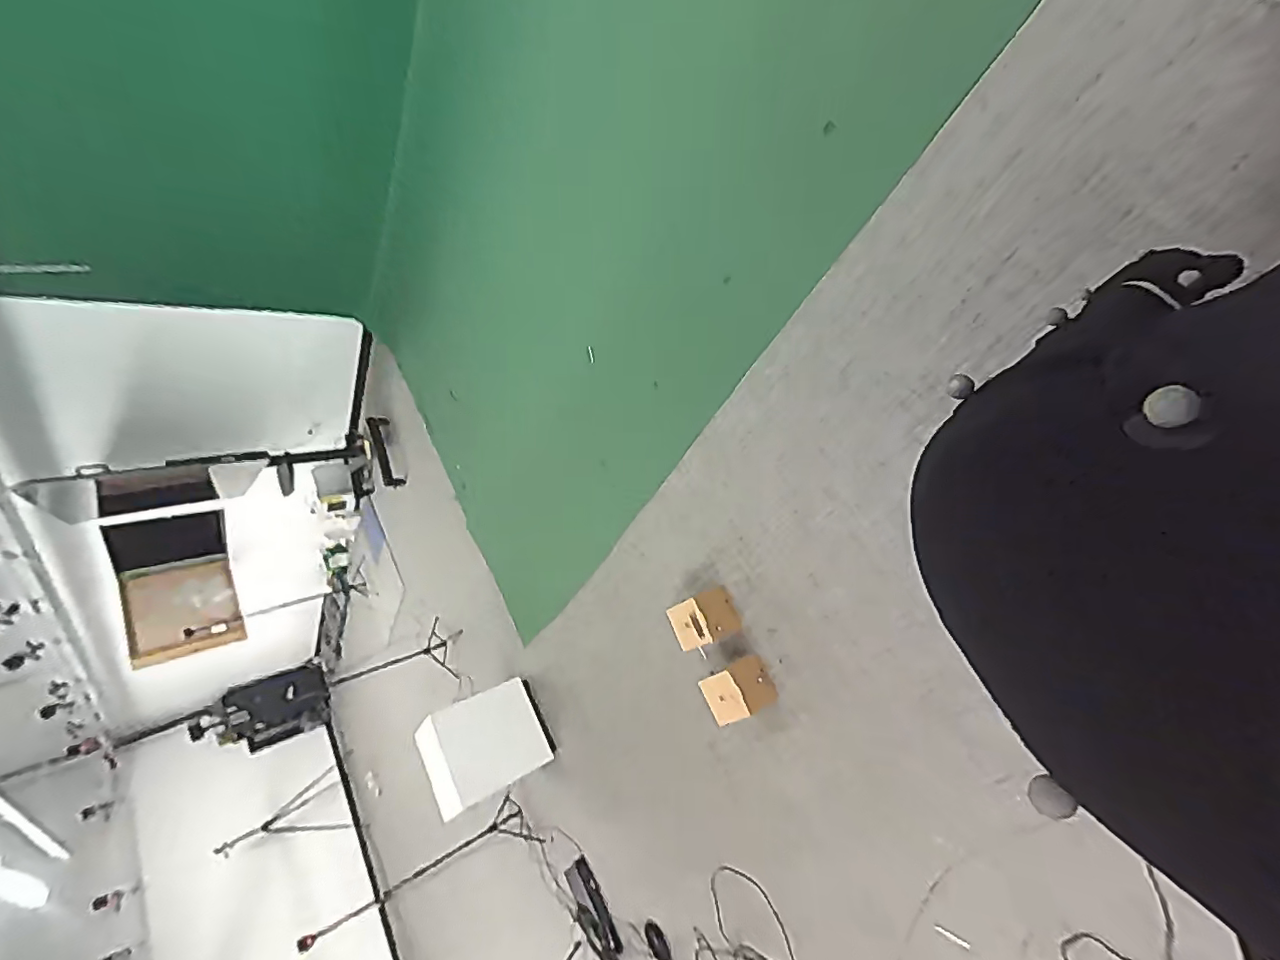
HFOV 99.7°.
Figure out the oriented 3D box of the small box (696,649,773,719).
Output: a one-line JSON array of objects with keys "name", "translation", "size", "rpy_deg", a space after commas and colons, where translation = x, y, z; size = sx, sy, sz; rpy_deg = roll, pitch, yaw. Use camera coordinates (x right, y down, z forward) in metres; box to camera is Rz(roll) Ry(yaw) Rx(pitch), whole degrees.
[{"name": "small box", "translation": [0.338, 0.727, 1.930], "size": [0.179, 0.176, 0.168], "rpy_deg": [-43, 67, 43]}]
